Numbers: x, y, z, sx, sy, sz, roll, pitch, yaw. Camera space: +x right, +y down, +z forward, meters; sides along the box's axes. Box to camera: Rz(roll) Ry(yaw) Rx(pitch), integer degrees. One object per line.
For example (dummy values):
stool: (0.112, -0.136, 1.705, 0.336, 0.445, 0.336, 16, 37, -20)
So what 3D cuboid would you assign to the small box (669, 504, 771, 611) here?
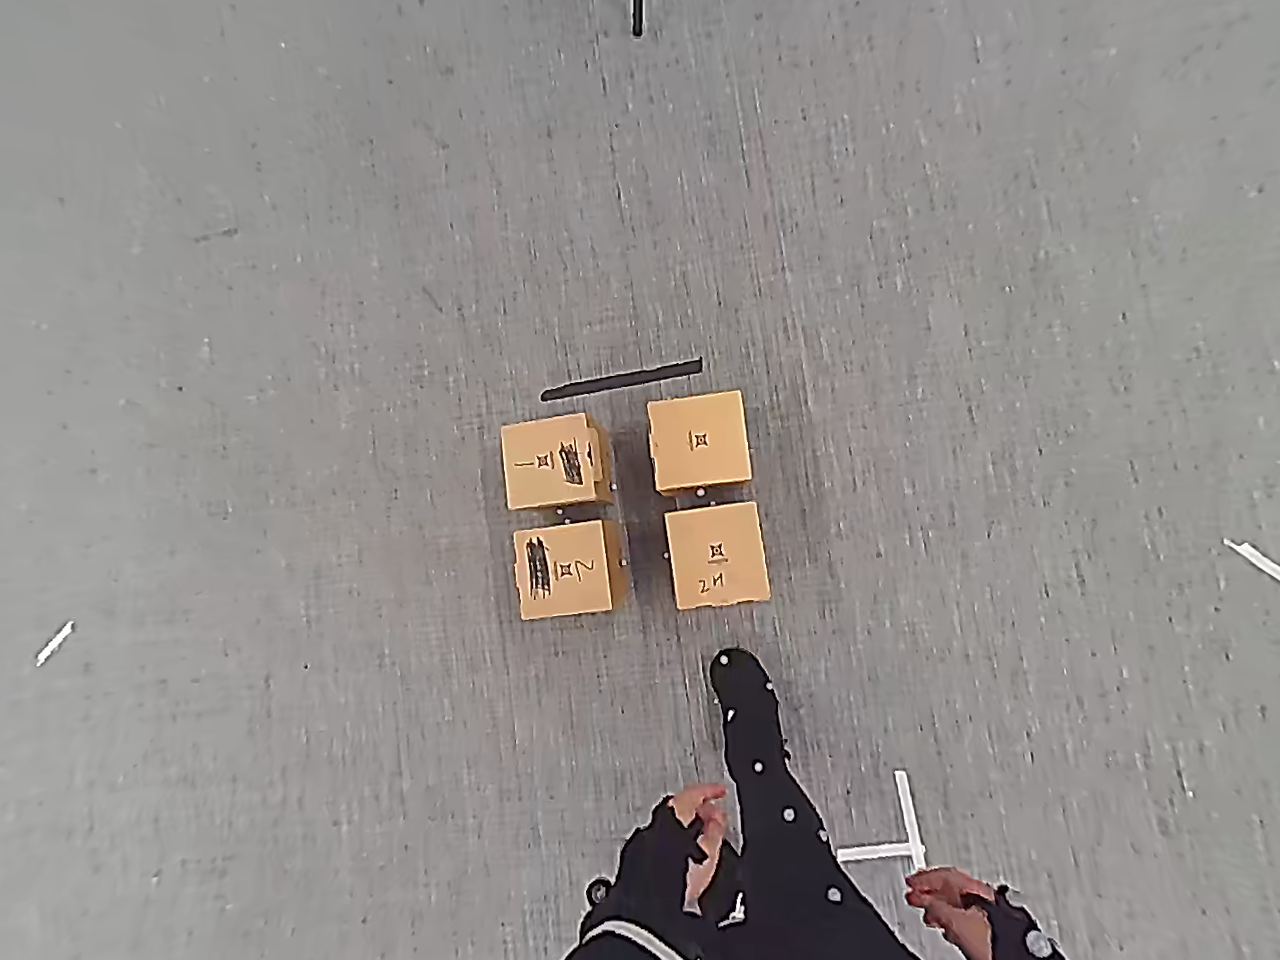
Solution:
small box: (0.152, 0.148, 1.043, 0.168, 0.176, 0.179, -9, 83, 8)
